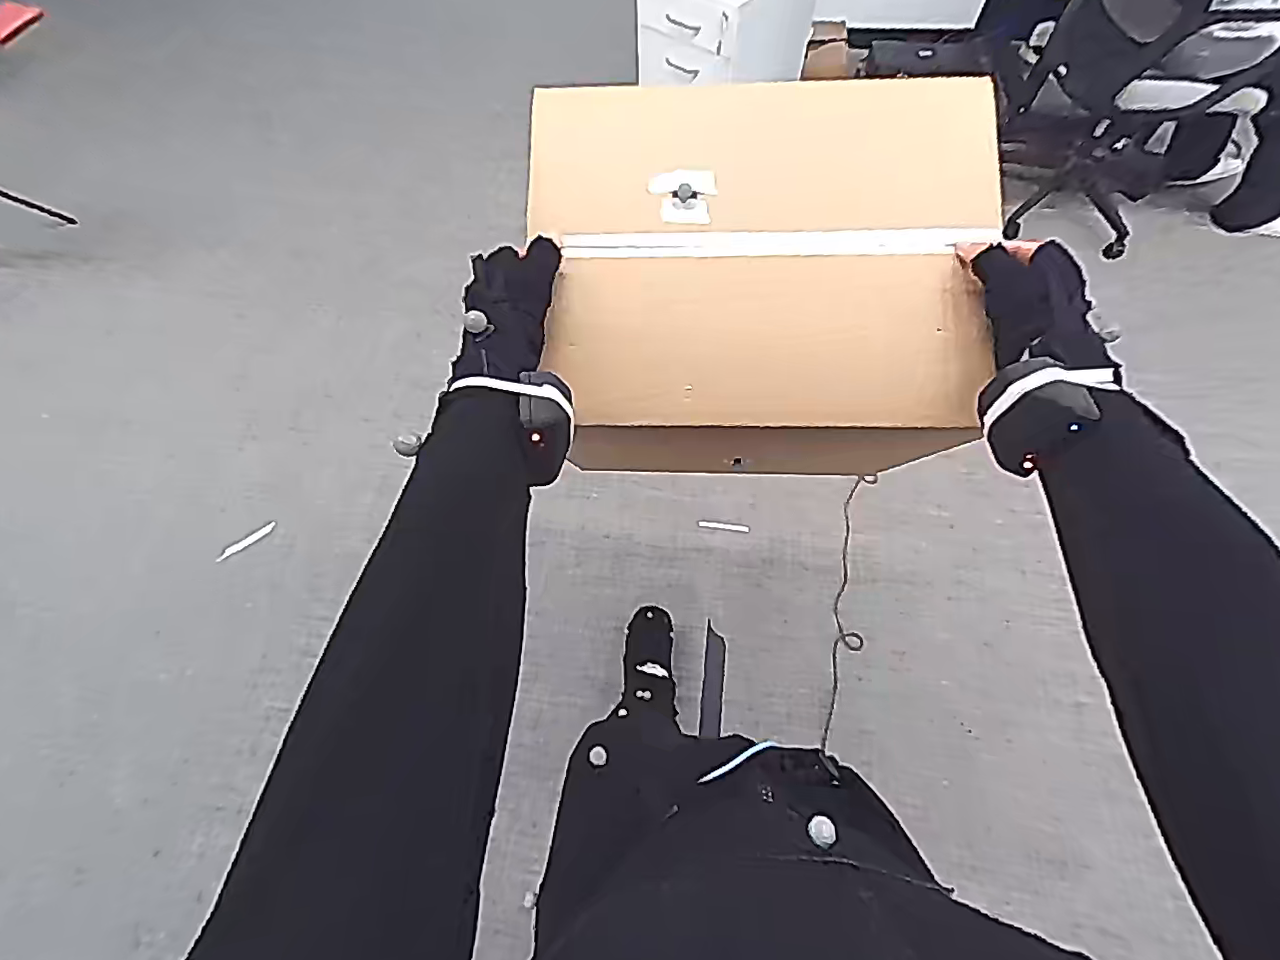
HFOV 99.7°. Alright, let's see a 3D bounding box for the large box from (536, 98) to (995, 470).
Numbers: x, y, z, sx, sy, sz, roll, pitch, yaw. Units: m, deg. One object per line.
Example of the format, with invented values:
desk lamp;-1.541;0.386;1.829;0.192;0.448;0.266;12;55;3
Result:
large box;0.117;-0.180;0.635;0.408;0.320;0.320;1;83;4
